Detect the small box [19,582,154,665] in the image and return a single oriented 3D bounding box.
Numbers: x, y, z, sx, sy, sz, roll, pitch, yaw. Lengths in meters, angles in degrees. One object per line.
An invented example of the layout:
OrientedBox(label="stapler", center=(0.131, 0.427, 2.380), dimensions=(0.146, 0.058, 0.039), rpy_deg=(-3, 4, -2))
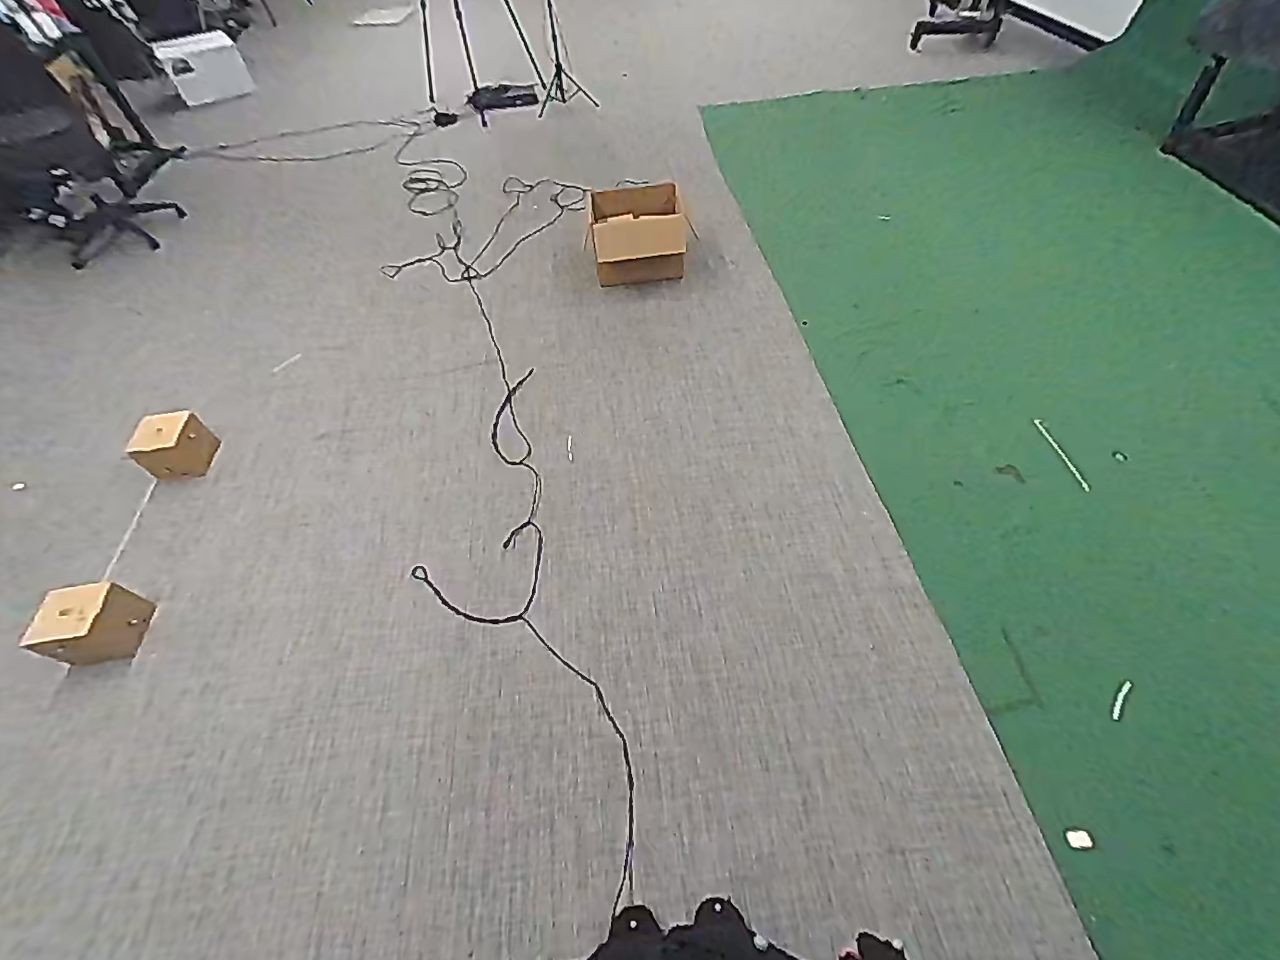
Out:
OrientedBox(label="small box", center=(-1.567, 0.413, 1.544), dimensions=(0.179, 0.176, 0.168), rpy_deg=(-9, 54, -3))

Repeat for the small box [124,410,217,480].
OrientedBox(label="small box", center=(-1.682, -0.124, 1.953), dimensions=(0.168, 0.176, 0.179), rpy_deg=(-8, 54, -3))
